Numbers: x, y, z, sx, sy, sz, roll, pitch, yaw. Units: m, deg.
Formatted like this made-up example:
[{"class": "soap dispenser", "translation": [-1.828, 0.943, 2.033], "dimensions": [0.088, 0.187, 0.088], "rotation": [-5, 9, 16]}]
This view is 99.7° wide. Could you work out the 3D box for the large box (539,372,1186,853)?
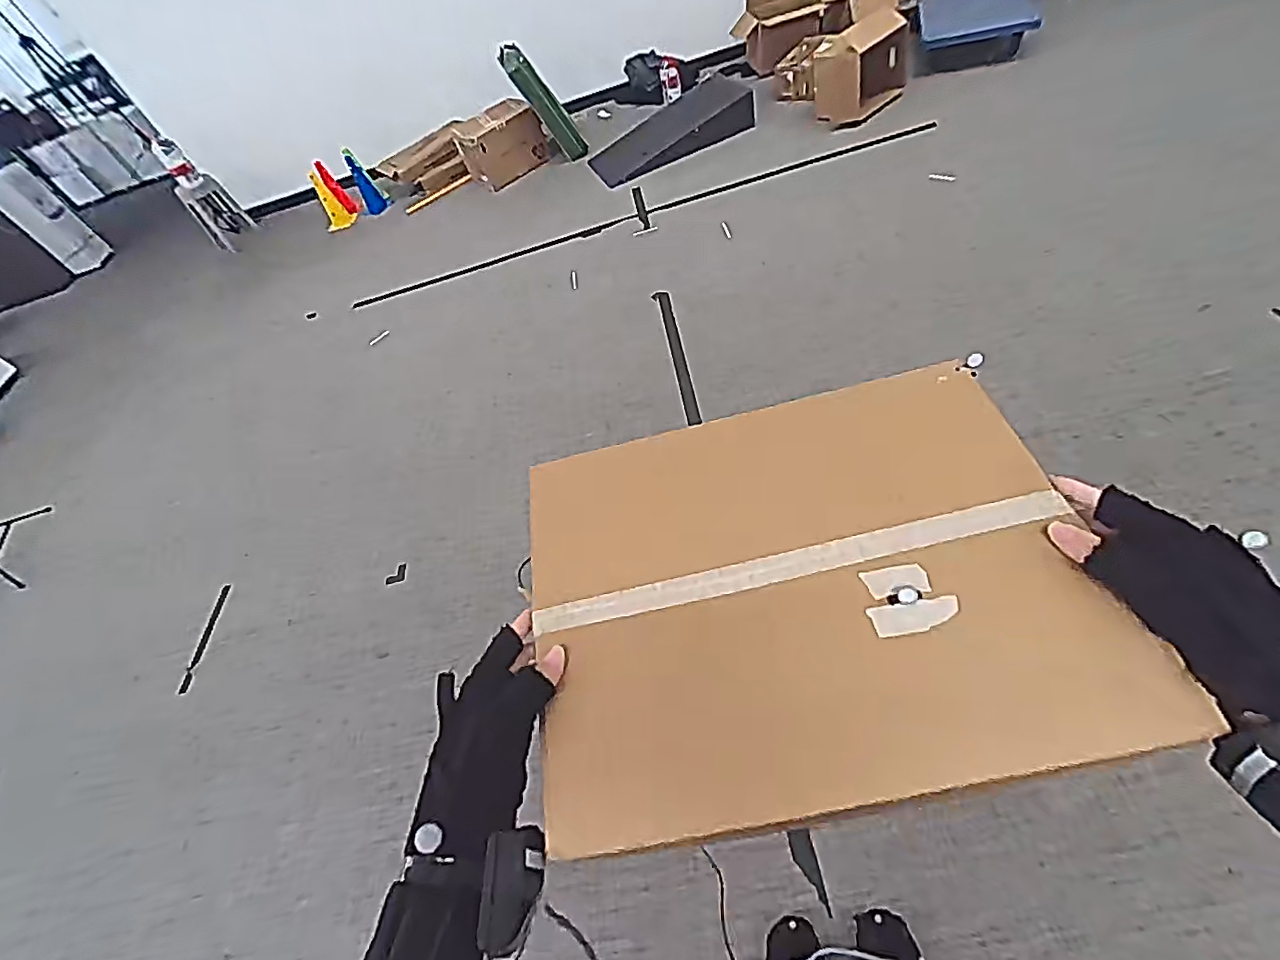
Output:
[{"class": "large box", "translation": [0.145, 0.152, 0.544], "dimensions": [0.408, 0.320, 0.320], "rotation": [-14, 55, 4]}]
